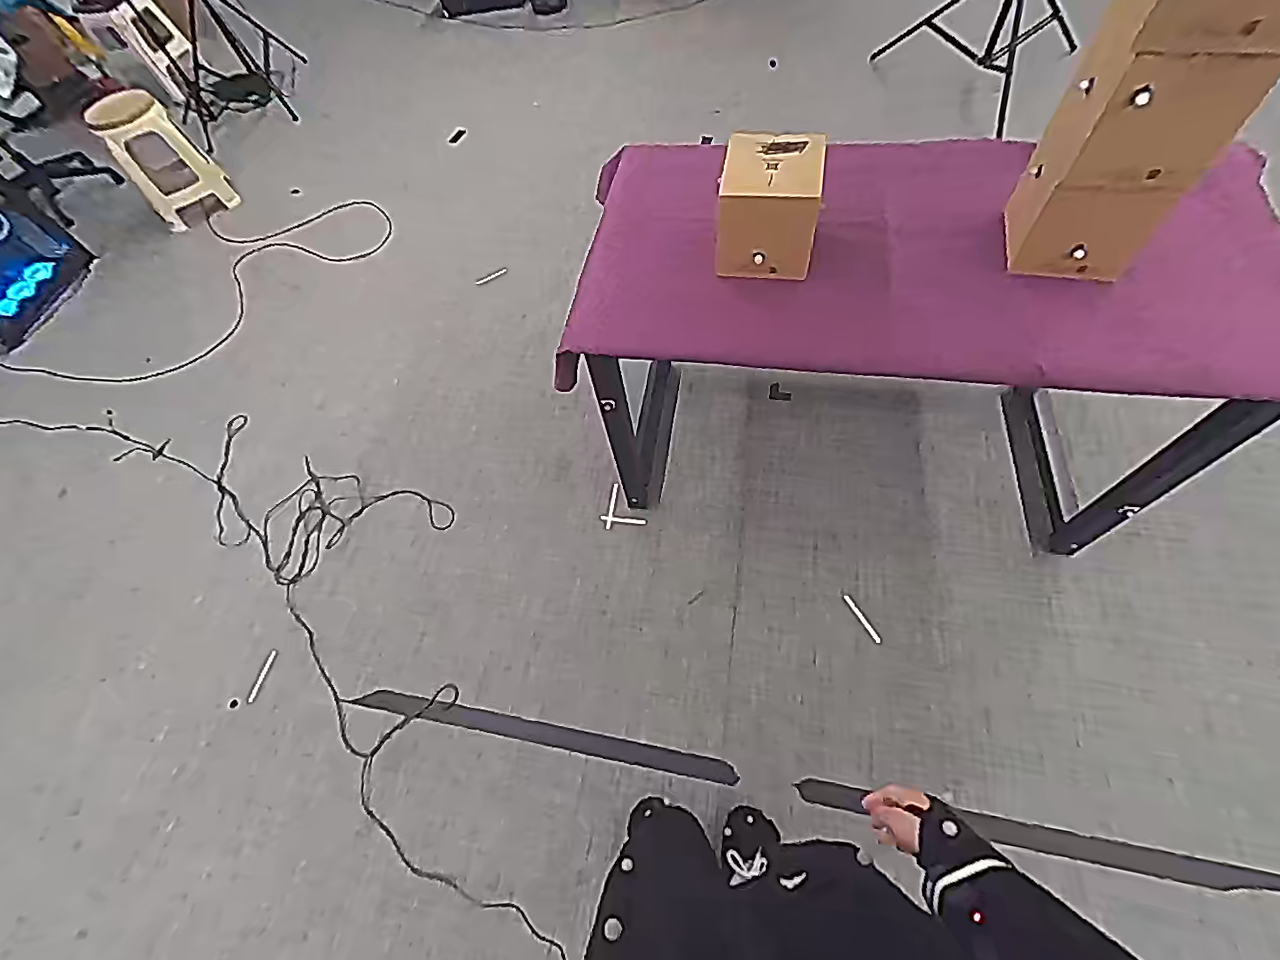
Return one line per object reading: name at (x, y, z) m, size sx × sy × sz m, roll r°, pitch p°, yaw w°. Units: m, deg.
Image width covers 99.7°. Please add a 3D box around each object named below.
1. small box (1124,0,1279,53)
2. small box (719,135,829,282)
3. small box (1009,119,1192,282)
small box at (0.691, -0.612, 0.604) m, size 0.168 × 0.176 × 0.179 m, roll 13°, pitch 62°, yaw 13°
small box at (0.235, -0.486, 0.972) m, size 0.168 × 0.176 × 0.179 m, roll 7°, pitch 63°, yaw 12°
small box at (0.735, -0.457, 0.888) m, size 0.168 × 0.176 × 0.179 m, roll 11°, pitch 63°, yaw 14°
